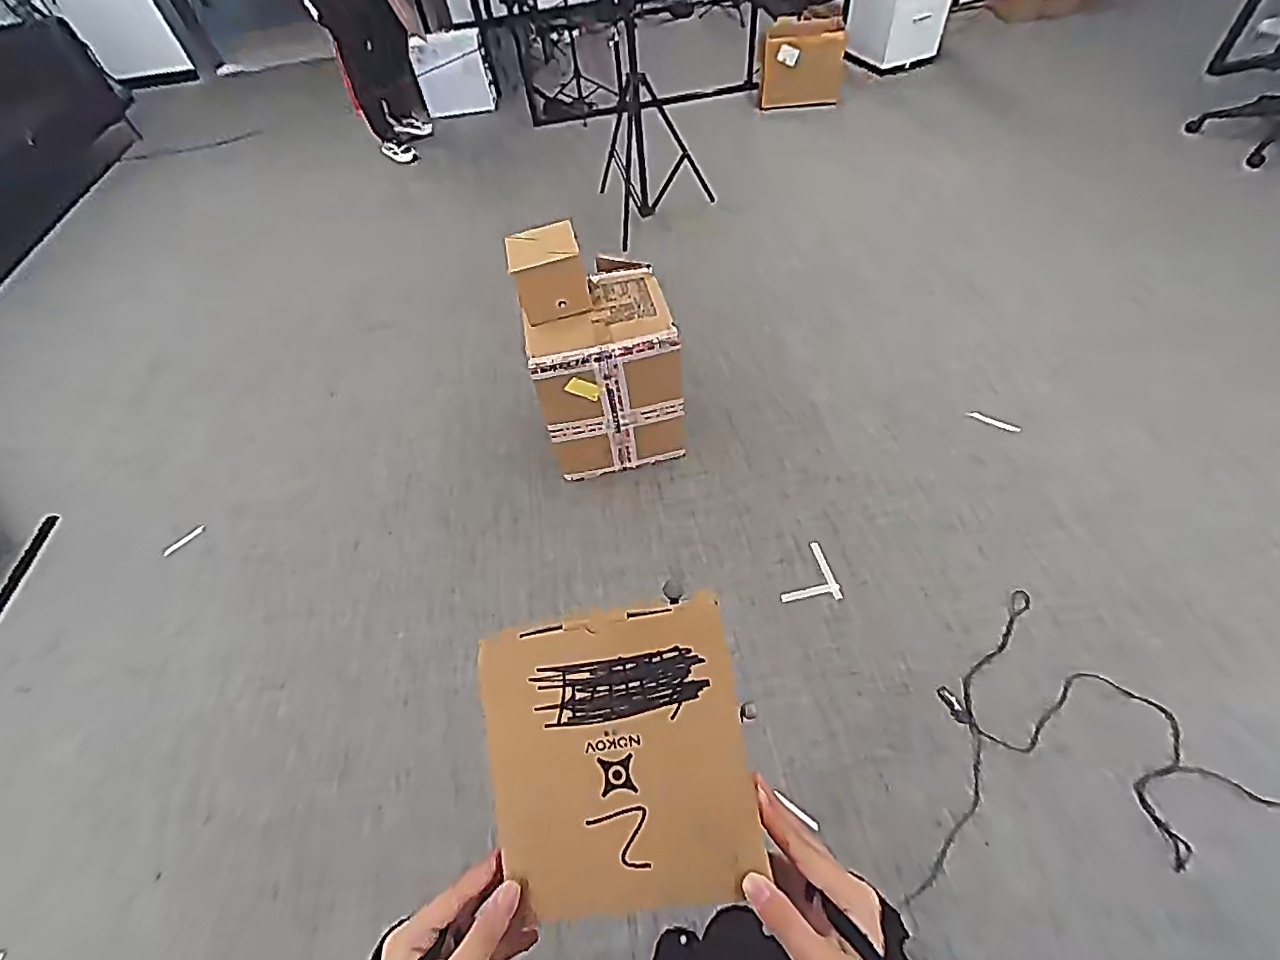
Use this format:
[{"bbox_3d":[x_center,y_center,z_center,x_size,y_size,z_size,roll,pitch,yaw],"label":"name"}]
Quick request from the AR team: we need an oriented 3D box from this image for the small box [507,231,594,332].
[{"bbox_3d":[-0.233,-0.525,1.421,0.179,0.176,0.168,-15,54,-1],"label":"small box"}]
